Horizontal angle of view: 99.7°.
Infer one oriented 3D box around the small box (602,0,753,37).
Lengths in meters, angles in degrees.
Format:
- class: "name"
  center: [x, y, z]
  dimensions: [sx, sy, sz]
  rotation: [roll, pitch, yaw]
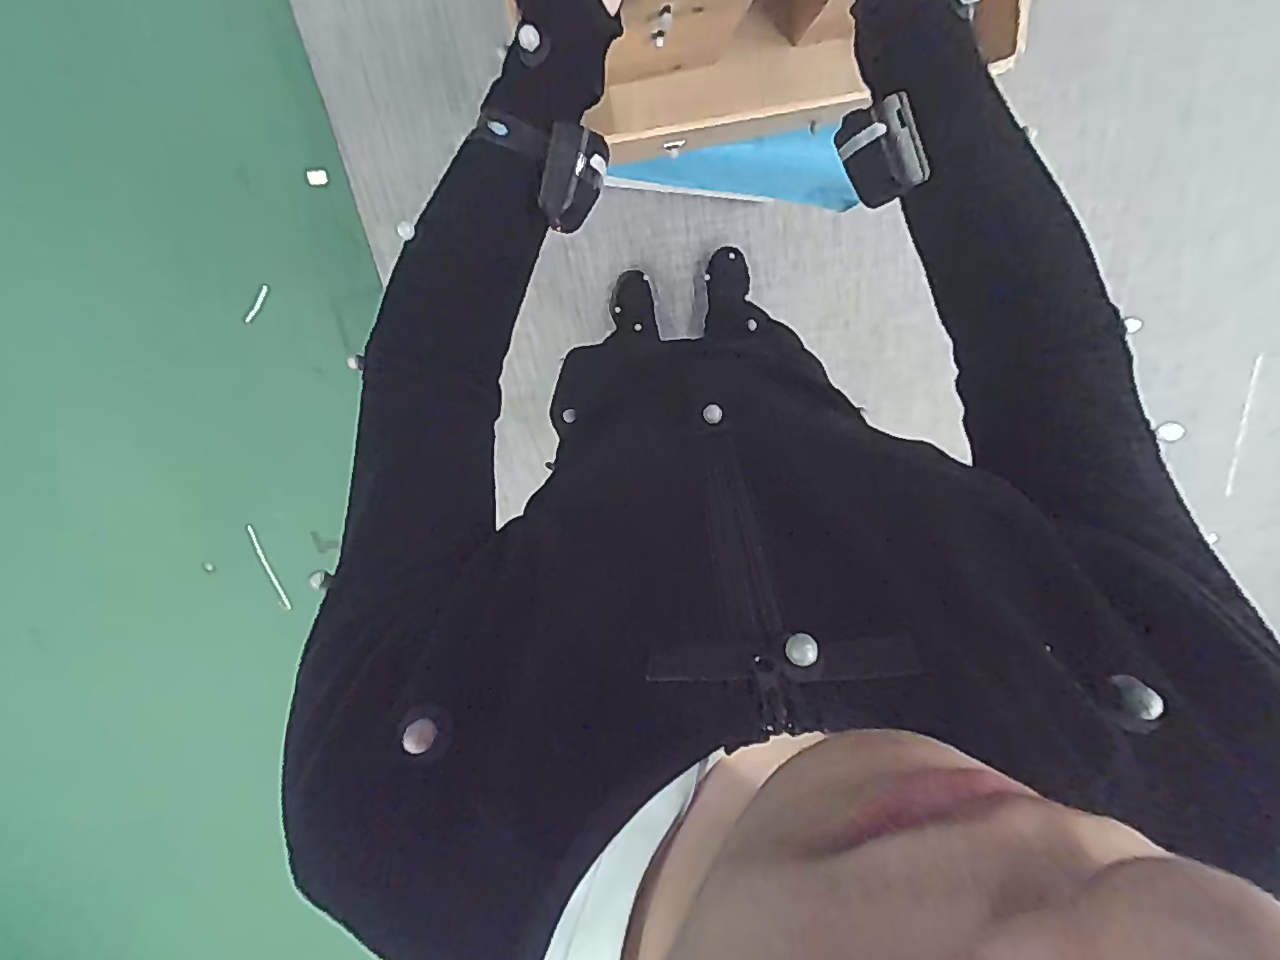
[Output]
- class: "small box"
  center: [0.035, -0.566, 0.508]
  dimensions: [0.168, 0.176, 0.179]
  rotation: [-9, 110, 0]
